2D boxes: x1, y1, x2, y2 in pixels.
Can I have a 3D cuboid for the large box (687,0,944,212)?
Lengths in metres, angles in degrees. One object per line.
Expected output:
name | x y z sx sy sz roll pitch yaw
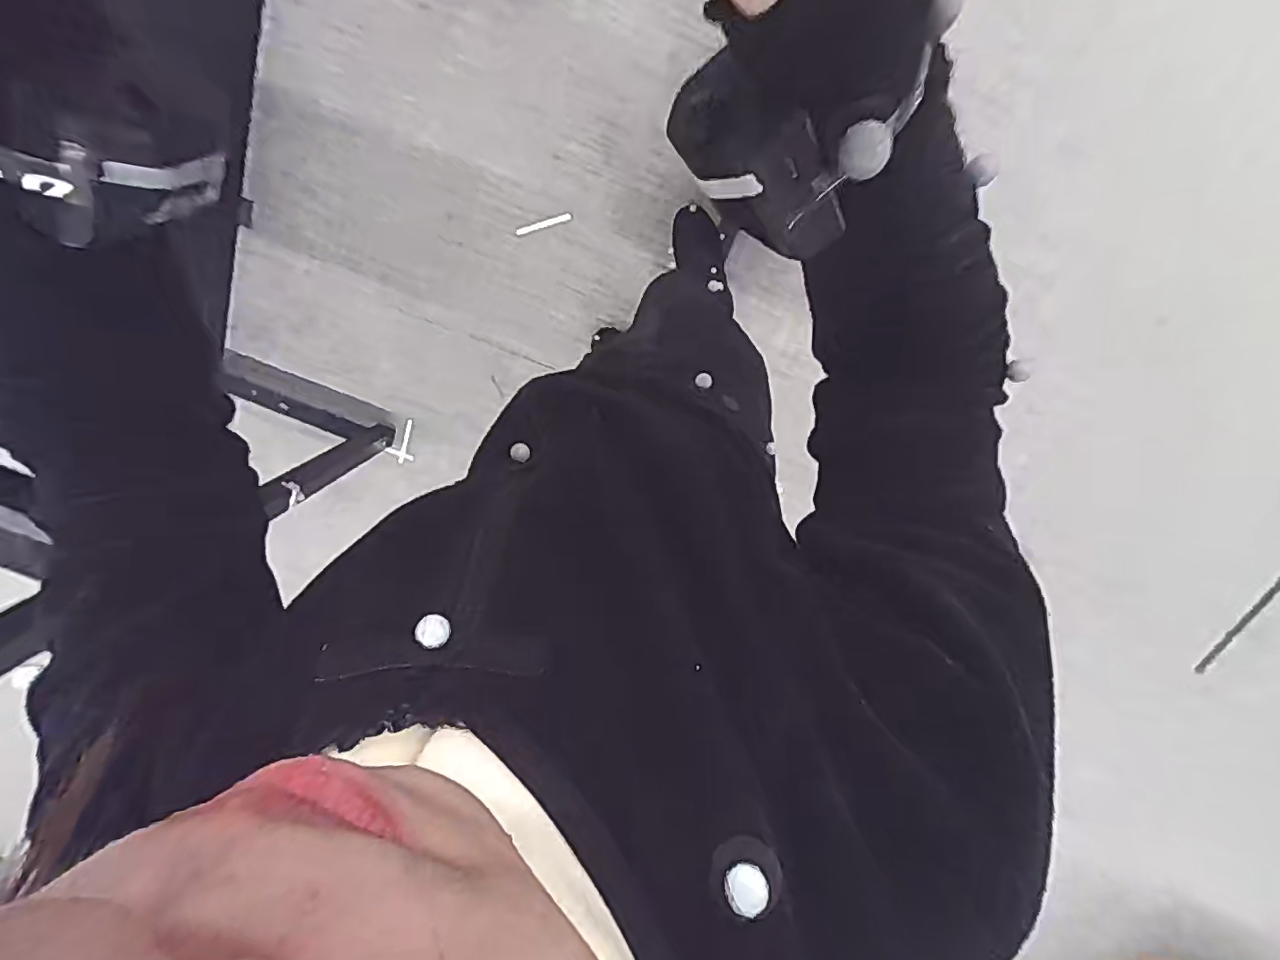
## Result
large box | 0.312 -0.792 1.034 0.320 0.320 0.408 24 110 -7
